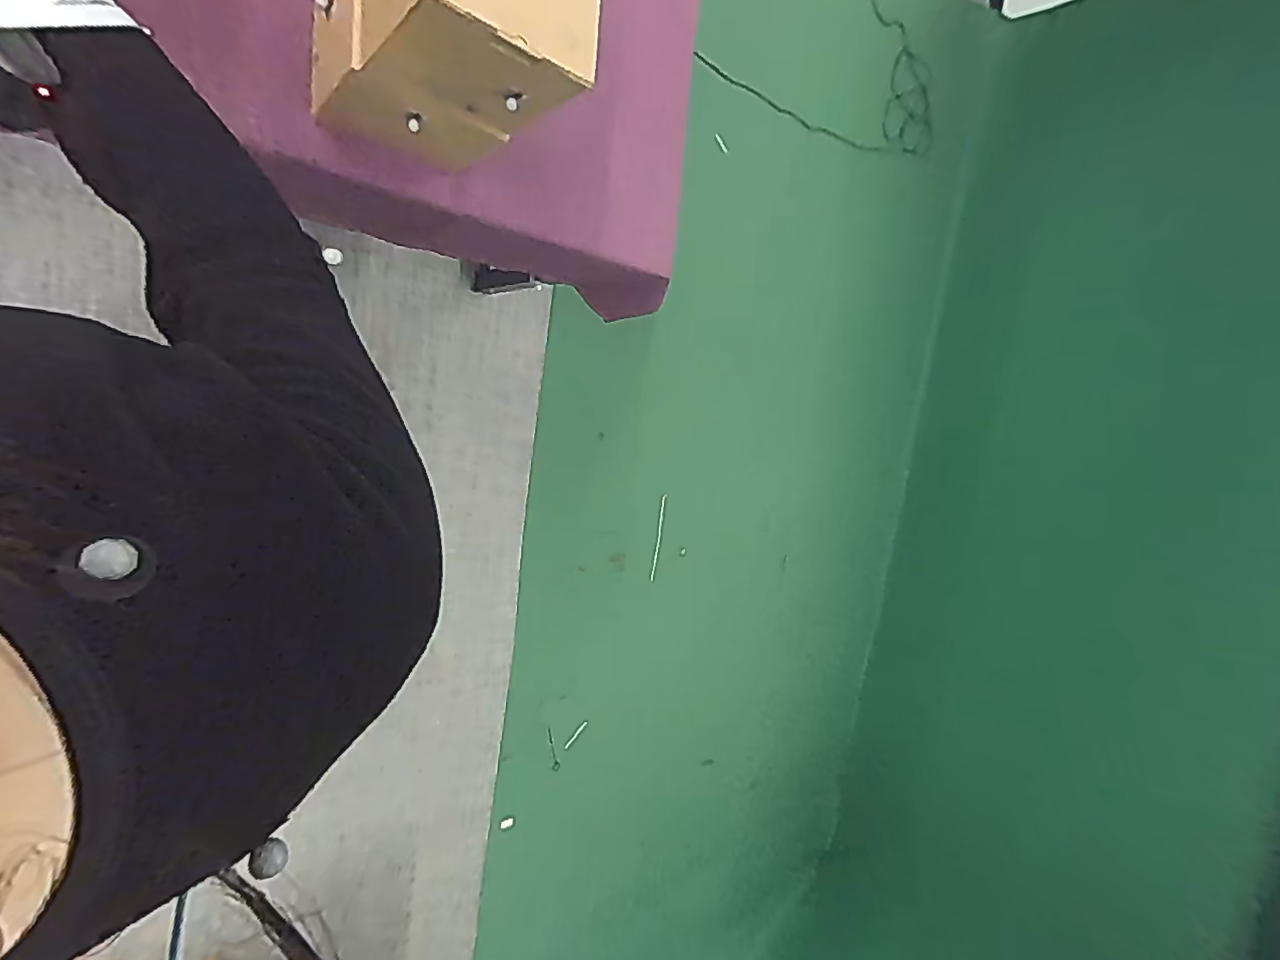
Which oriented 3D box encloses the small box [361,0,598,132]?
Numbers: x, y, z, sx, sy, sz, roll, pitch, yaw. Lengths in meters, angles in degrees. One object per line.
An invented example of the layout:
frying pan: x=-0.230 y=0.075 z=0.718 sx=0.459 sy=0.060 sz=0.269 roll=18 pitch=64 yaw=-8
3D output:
small box: x=-0.155 y=-0.473 z=0.519 sx=0.168 sy=0.176 sz=0.179 roll=-3 pitch=102 yaw=-44

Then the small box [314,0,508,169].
small box: x=-0.268 y=-0.495 z=0.636 sx=0.179 sy=0.176 sz=0.168 roll=0 pitch=101 yaw=-44
